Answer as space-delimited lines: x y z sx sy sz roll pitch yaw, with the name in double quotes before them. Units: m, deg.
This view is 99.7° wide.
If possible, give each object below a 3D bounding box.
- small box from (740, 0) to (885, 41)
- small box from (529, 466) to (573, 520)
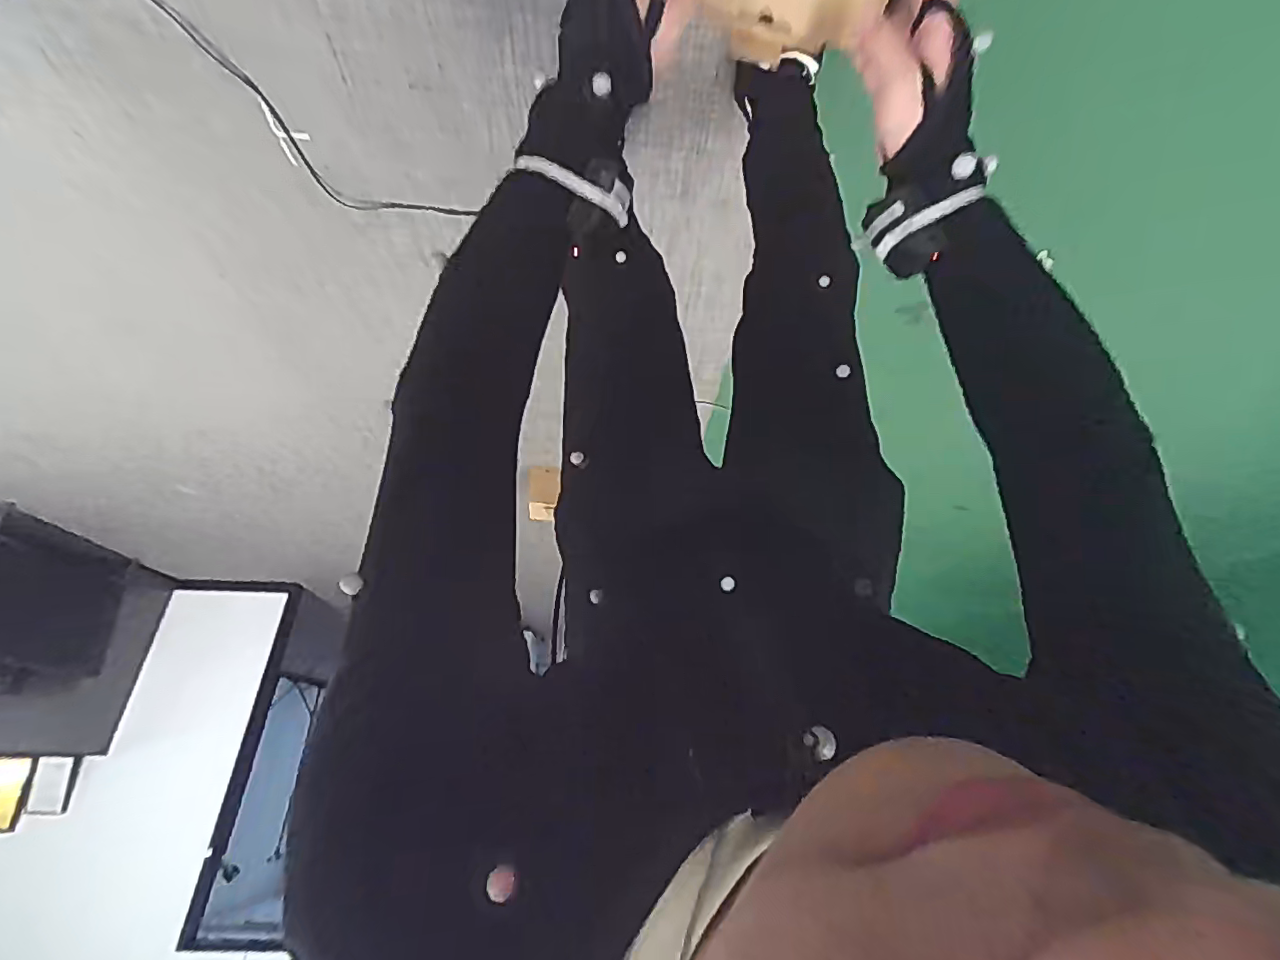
"small box" 0.128 -0.474 0.379 0.168 0.176 0.179 11 155 -8
"small box" -0.374 0.054 2.267 0.168 0.176 0.179 6 153 -7
